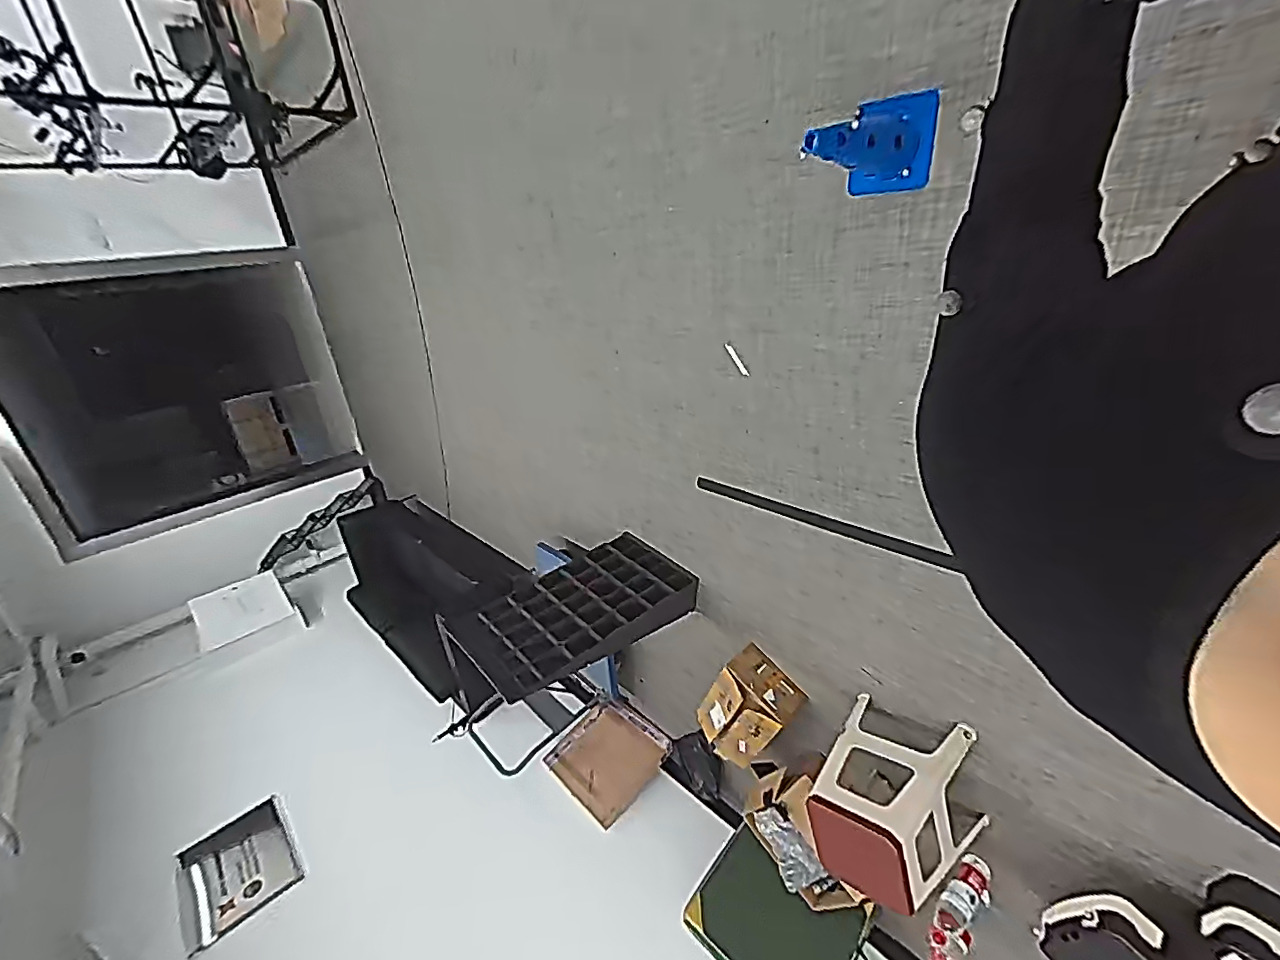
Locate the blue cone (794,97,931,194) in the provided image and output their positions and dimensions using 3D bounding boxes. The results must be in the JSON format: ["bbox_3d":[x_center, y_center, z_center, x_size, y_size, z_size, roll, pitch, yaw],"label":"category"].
[{"bbox_3d":[0.477,-0.750,1.213,0.192,0.380,0.193,24,127,43],"label":"blue cone"}]
